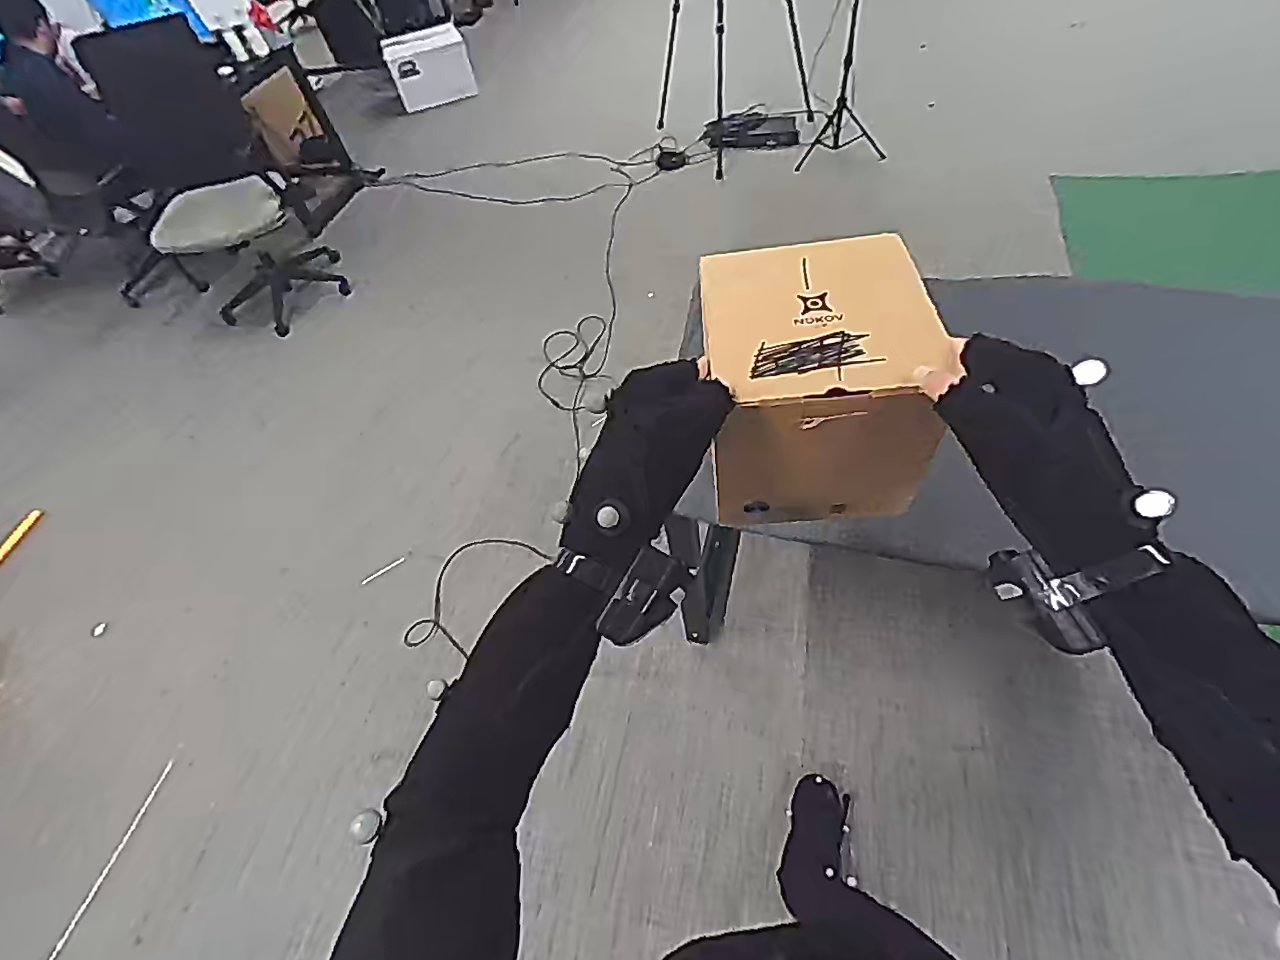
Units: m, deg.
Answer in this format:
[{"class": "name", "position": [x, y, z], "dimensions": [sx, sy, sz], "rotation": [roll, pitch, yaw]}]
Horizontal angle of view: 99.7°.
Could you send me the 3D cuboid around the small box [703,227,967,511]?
[{"class": "small box", "position": [0.144, -0.084, 0.467], "dimensions": [0.168, 0.176, 0.179], "rotation": [-4, 54, 7]}]
